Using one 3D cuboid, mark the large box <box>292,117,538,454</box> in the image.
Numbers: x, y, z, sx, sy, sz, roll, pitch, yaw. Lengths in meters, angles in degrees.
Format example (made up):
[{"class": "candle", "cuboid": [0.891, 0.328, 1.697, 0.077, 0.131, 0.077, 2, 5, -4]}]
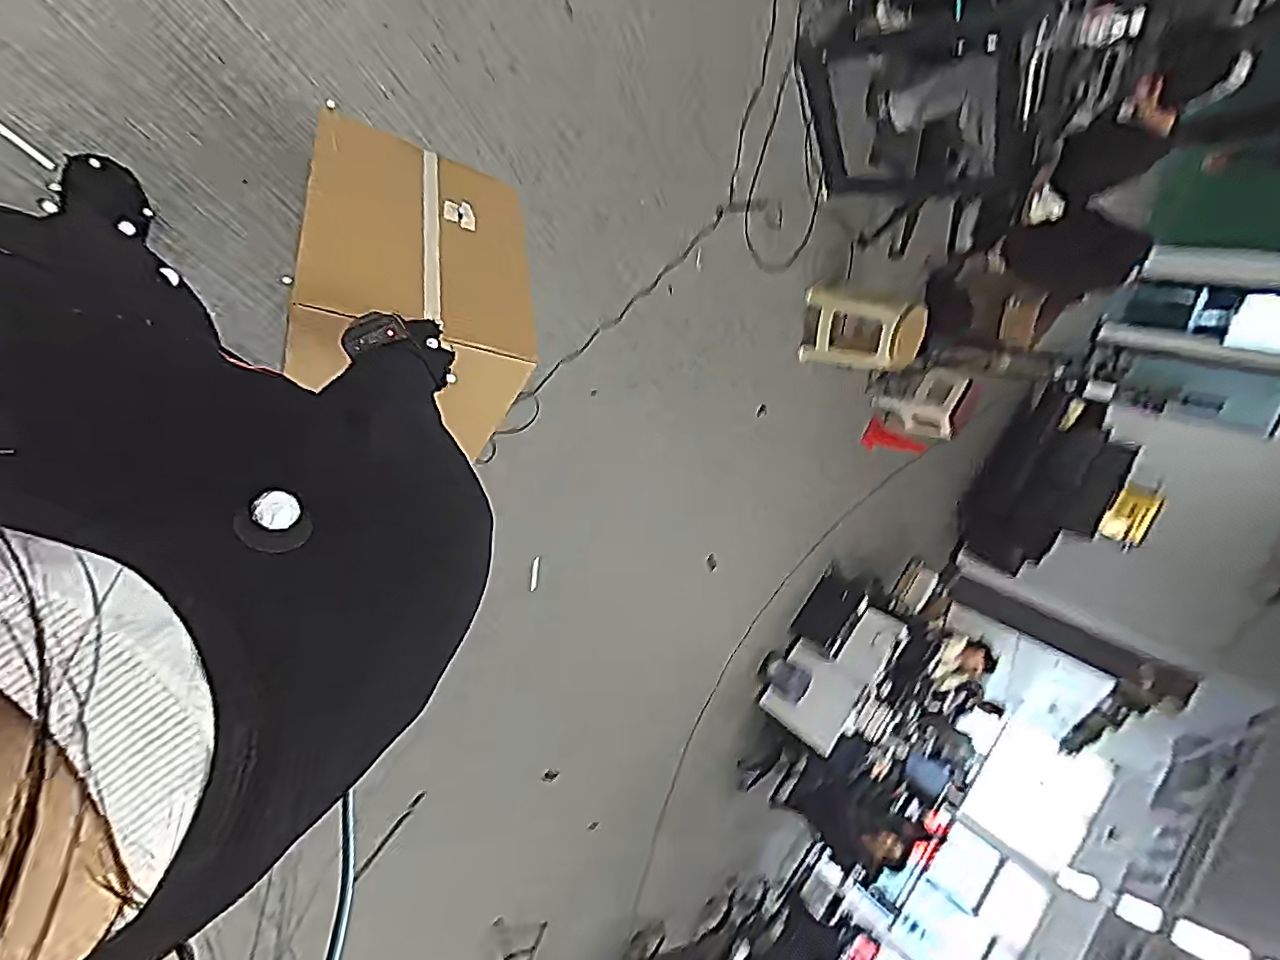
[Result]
[{"class": "large box", "cuboid": [-0.398, -0.298, 0.925, 0.320, 0.408, 0.320, 7, 148, -34]}]
